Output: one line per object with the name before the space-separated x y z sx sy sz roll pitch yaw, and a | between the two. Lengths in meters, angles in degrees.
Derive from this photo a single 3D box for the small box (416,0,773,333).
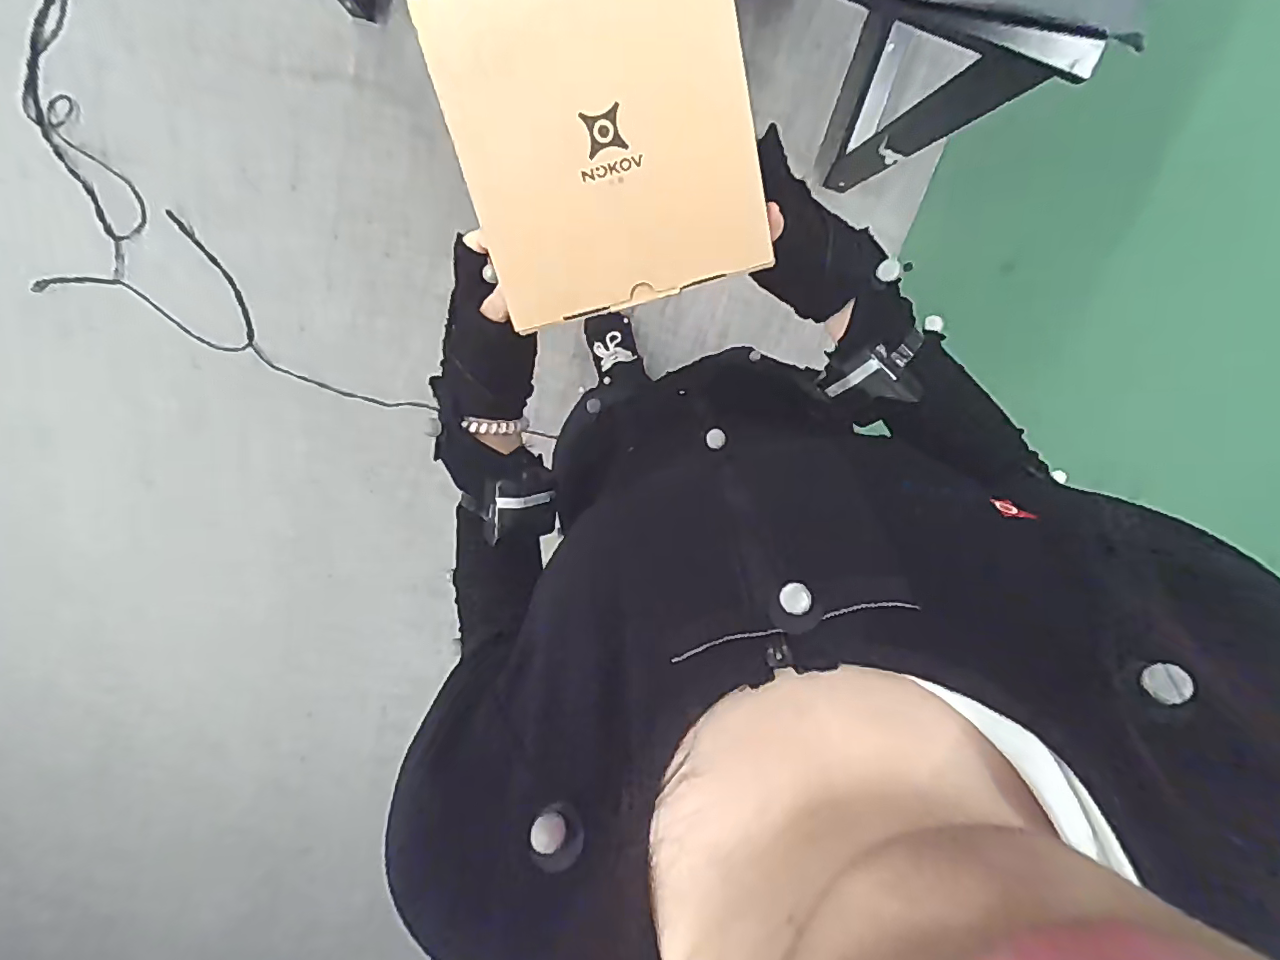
small box | -0.022 -0.216 0.377 0.168 0.176 0.179 -15 112 3
